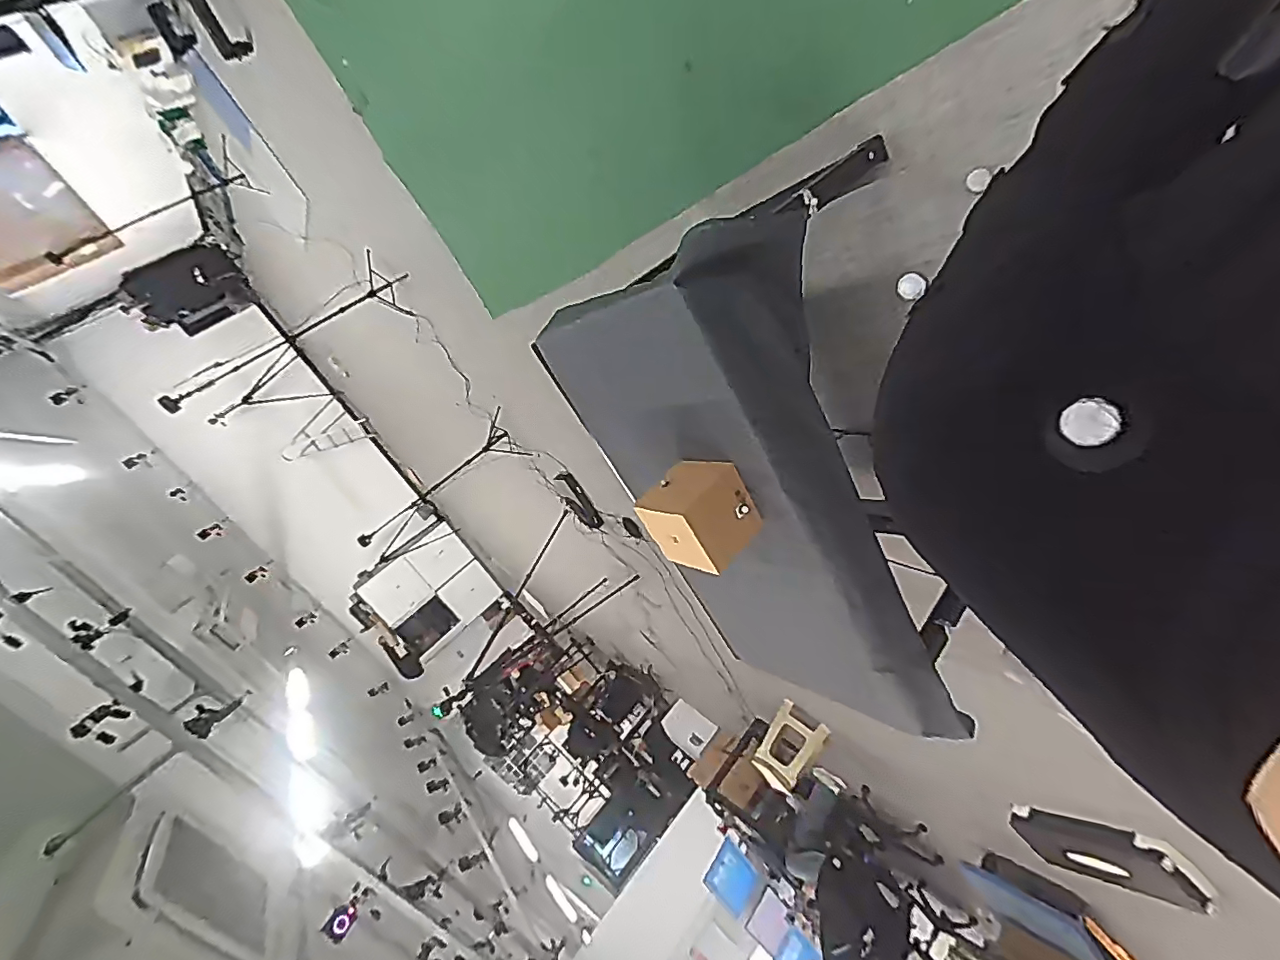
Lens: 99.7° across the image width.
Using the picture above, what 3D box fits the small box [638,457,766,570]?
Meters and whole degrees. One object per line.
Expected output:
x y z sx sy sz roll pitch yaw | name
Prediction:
0.135 0.063 1.158 0.179 0.176 0.168 4 134 56 | small box
